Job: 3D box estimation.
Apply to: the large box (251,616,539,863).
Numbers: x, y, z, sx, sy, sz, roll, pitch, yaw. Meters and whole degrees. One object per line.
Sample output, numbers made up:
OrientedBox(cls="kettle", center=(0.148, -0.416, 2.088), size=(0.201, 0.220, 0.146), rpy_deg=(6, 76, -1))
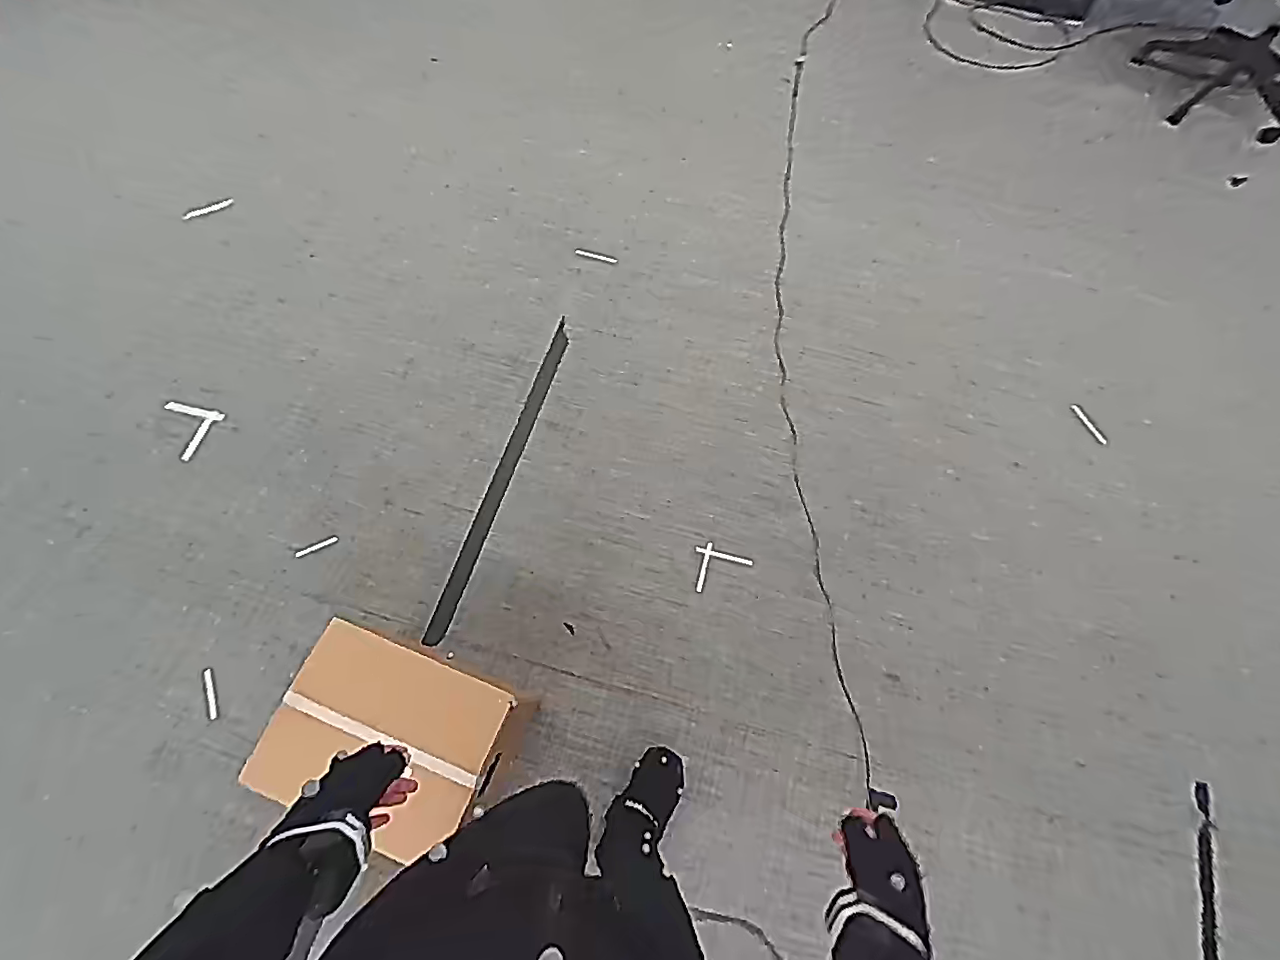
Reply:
OrientedBox(cls="large box", center=(-0.475, 0.524, 1.147), size=(0.408, 0.320, 0.320), rpy_deg=(21, 70, 6))
